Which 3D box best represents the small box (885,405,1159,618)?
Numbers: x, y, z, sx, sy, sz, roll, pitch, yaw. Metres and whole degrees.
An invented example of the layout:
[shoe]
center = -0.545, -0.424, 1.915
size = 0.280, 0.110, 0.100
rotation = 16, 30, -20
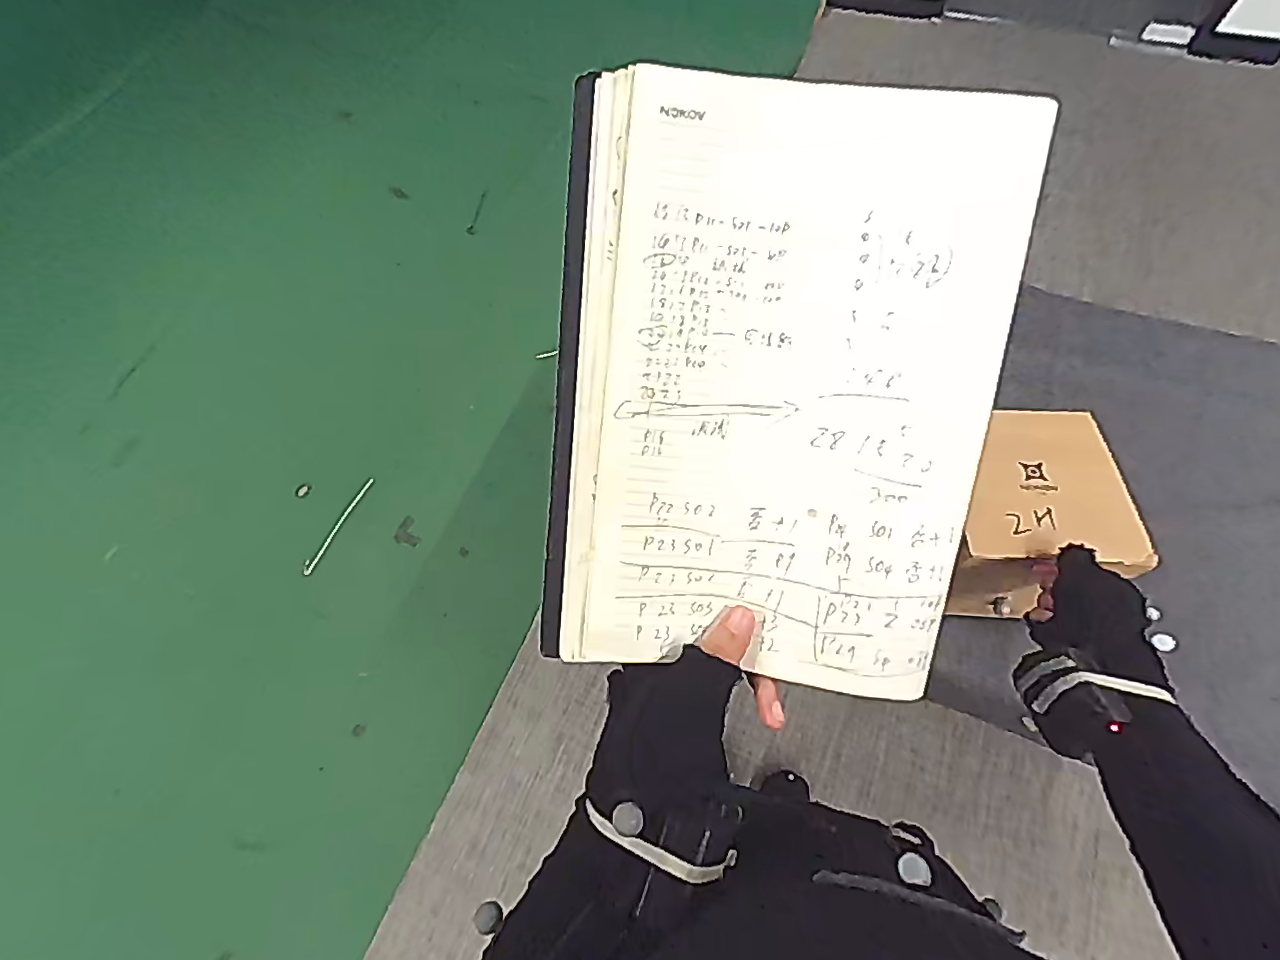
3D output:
[small box]
center = 0.393, 0.038, 0.601
size = 0.168, 0.176, 0.179
rotation = 2, 59, 4
